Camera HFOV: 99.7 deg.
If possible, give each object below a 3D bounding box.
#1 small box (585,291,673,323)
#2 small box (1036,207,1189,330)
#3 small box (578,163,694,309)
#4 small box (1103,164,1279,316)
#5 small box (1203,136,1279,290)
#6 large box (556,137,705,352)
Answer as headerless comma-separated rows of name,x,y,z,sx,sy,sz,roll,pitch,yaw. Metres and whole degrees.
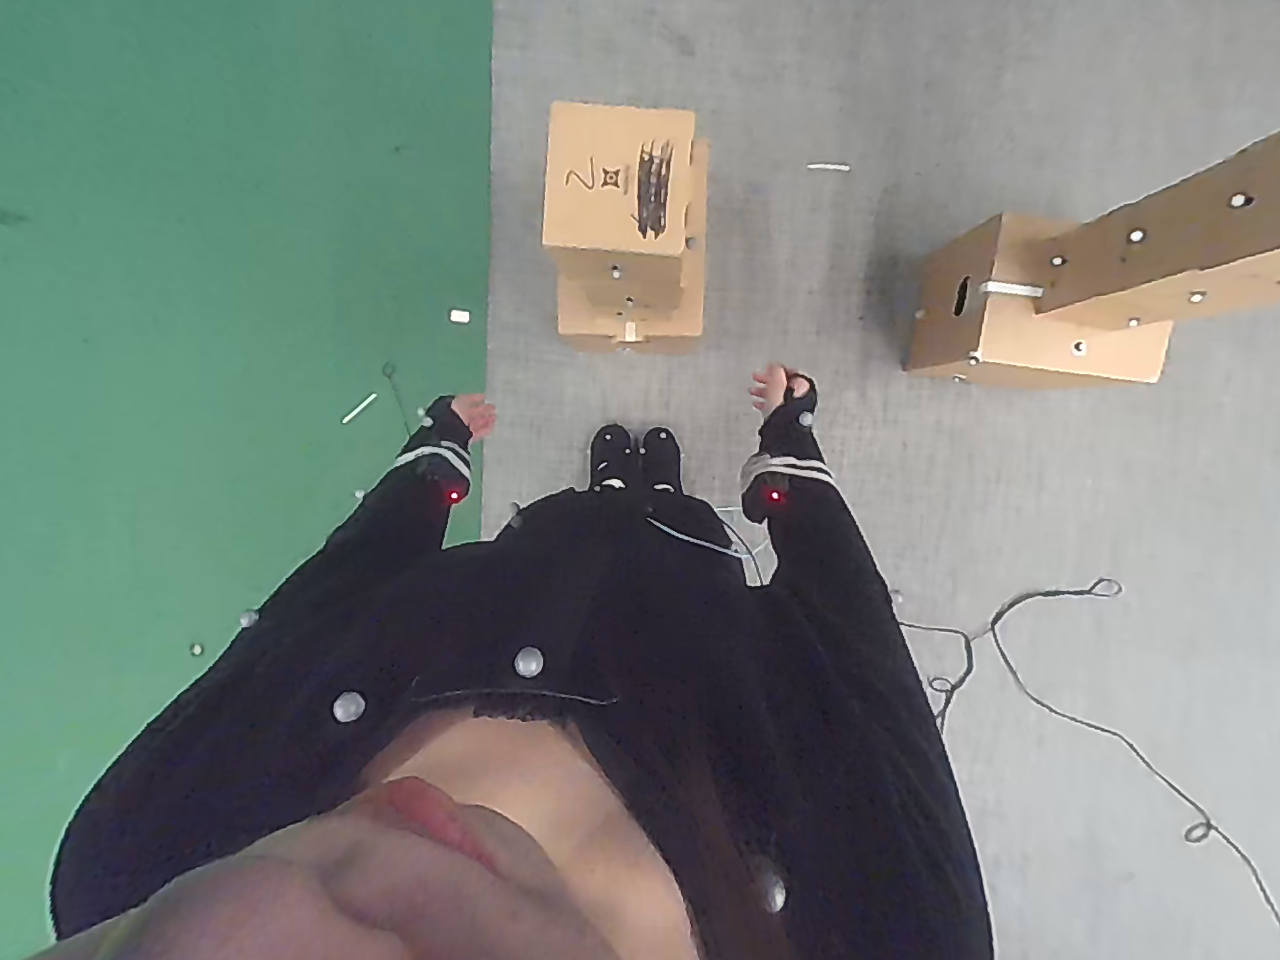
small box,-0.011,-0.410,1.054,0.168,0.176,0.179,4,96,0
small box,0.928,-0.398,1.049,0.179,0.176,0.168,11,95,-1
small box,-0.005,-0.388,0.891,0.168,0.176,0.179,4,96,0
small box,0.930,-0.378,0.886,0.179,0.176,0.168,13,94,0
small box,0.928,-0.367,0.722,0.168,0.176,0.179,12,95,-2
large box,-0.018,-0.525,1.285,0.320,0.320,0.408,2,96,0
